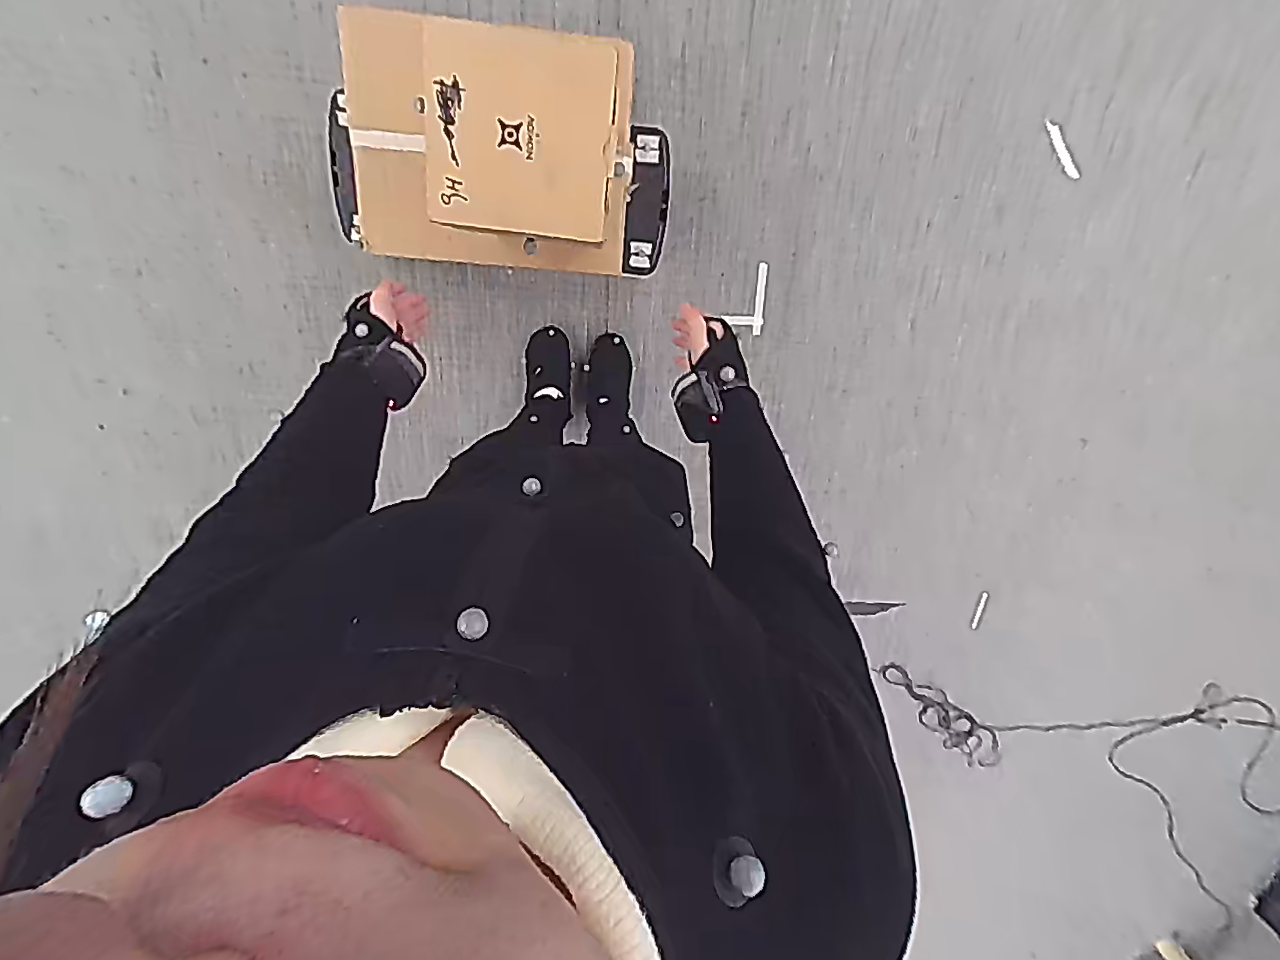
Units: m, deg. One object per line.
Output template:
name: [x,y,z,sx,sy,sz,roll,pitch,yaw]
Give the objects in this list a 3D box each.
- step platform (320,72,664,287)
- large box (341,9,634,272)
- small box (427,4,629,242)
step platform: [-0.292,-0.614,1.150,0.684,0.204,0.286,8,111,-7]
large box: [-0.220,-0.539,0.929,0.408,0.320,0.320,3,111,-5]
small box: [-0.113,-0.352,0.571,0.179,0.176,0.168,5,111,-7]
